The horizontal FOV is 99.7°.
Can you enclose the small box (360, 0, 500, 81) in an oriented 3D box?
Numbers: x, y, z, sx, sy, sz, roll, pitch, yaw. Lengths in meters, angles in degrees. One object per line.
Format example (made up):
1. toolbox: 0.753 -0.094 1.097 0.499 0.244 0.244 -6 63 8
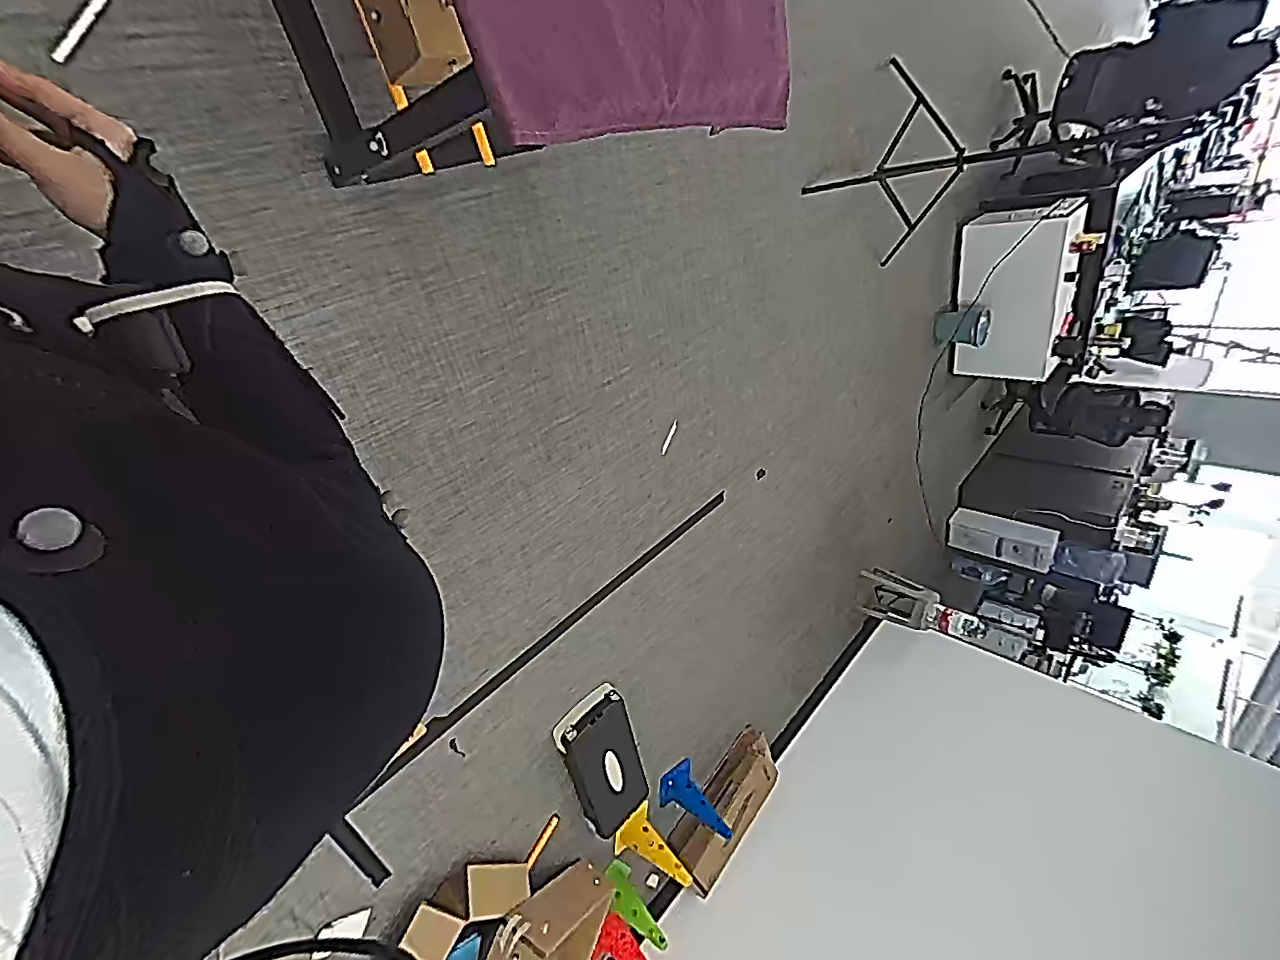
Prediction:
1. small box: -0.404 -0.888 1.029 0.179 0.176 0.168 -34 124 -31
